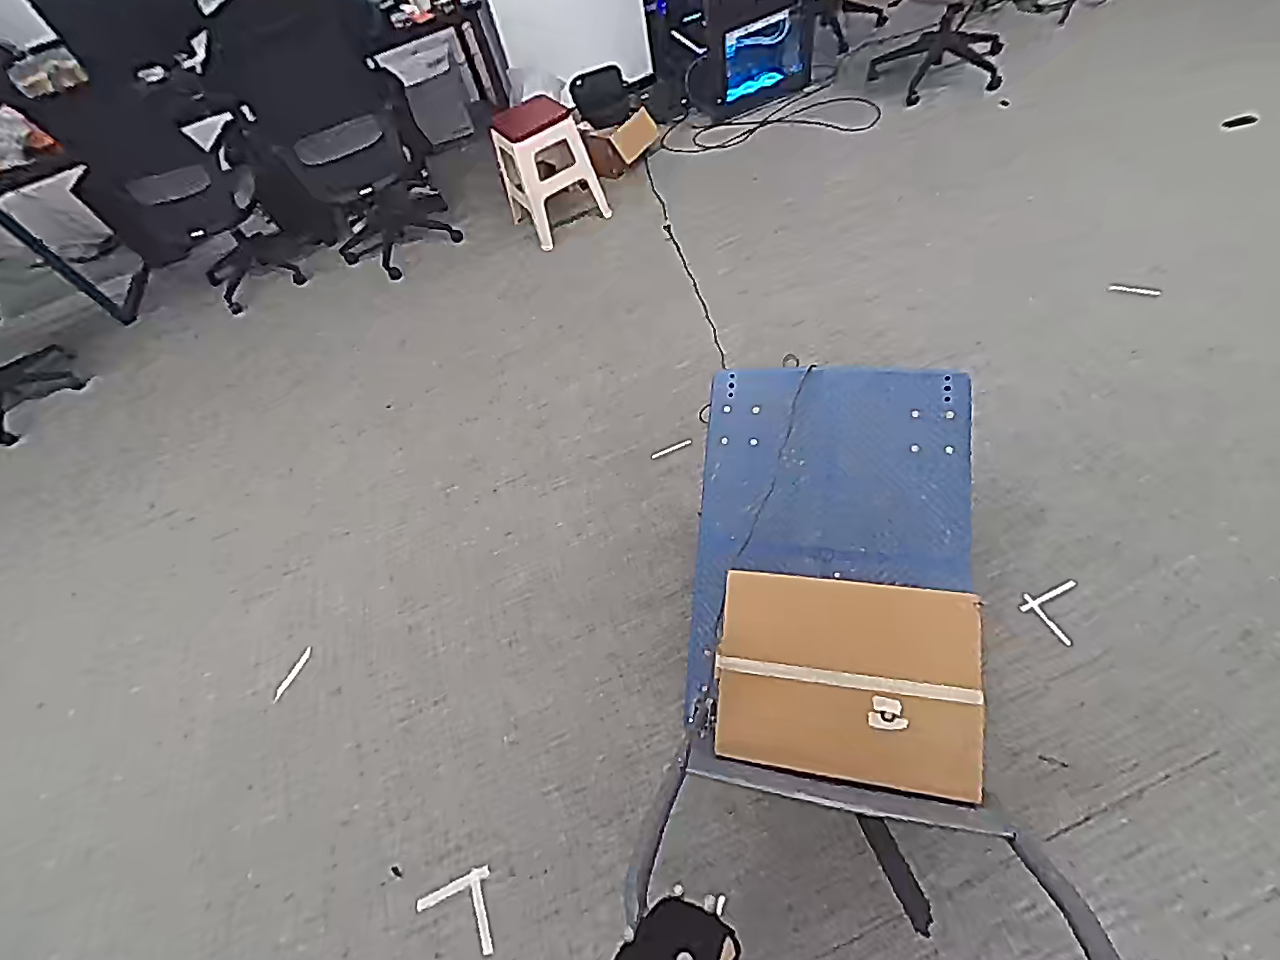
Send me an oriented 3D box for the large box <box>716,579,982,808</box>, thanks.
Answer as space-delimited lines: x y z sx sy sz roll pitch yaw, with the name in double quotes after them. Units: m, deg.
0.363 0.360 1.018 0.408 0.320 0.320 3 81 14 "large box"
